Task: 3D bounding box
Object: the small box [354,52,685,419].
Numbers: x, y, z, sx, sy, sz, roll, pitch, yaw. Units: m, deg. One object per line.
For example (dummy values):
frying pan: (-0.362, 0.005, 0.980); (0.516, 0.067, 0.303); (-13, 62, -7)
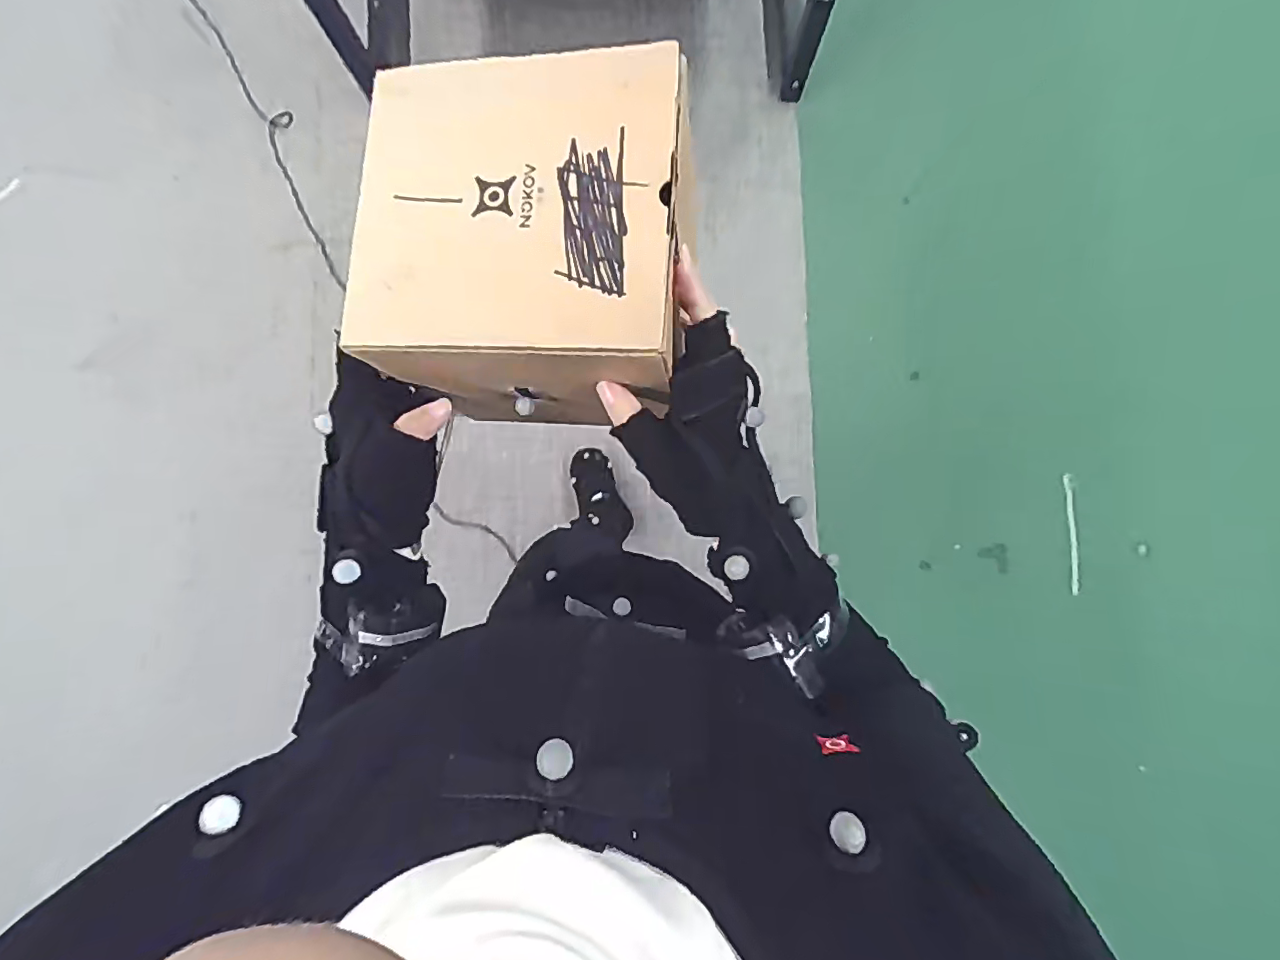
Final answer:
small box: (-0.058, -0.141, 0.369); (0.179, 0.176, 0.168); (0, 83, 7)
